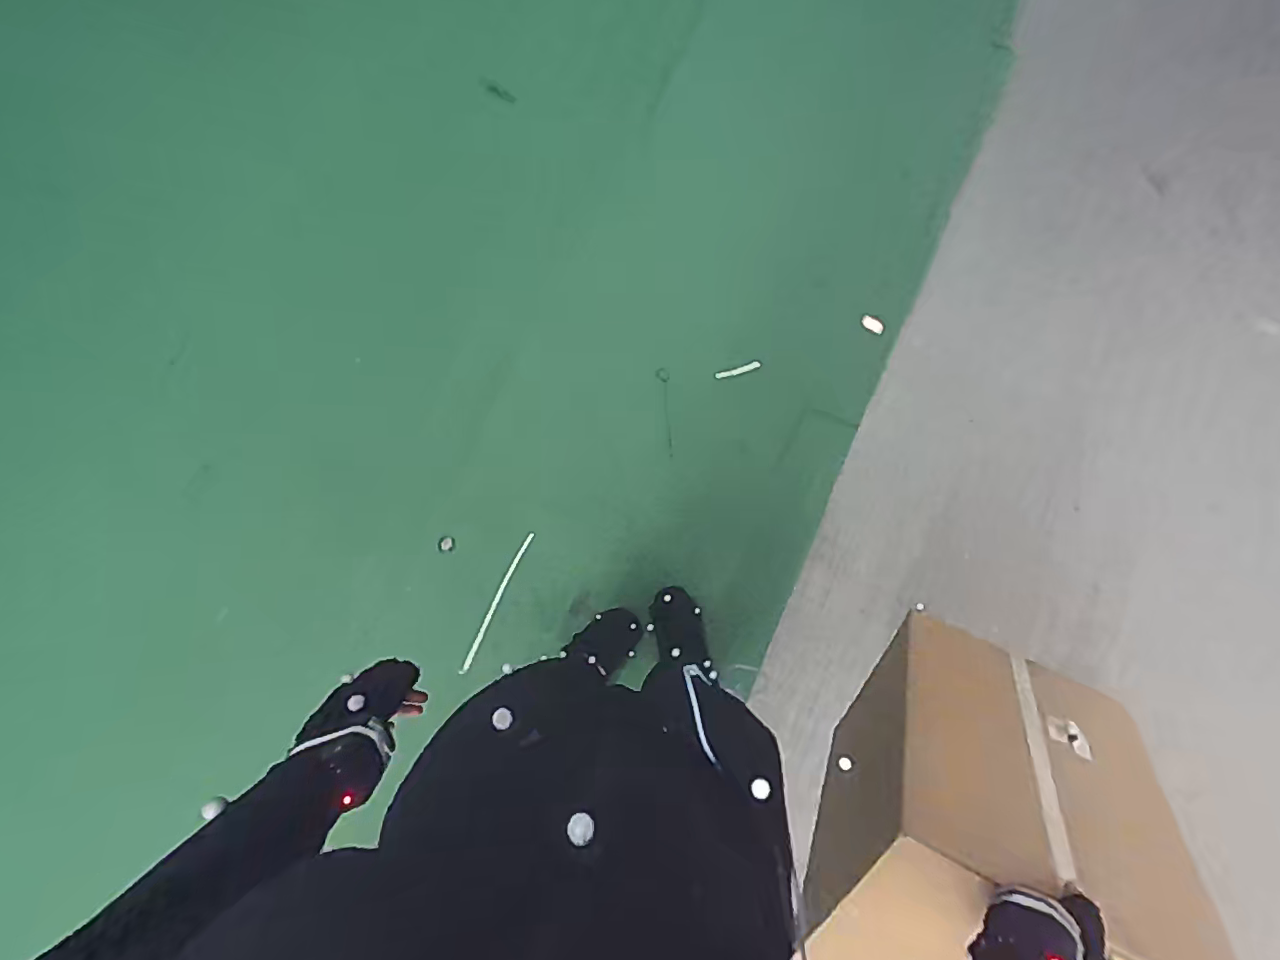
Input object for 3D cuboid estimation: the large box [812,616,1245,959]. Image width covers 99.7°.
[{"bbox_3d":[0.456,0.472,0.731,0.320,0.408,0.320,24,119,16],"label":"large box"}]
